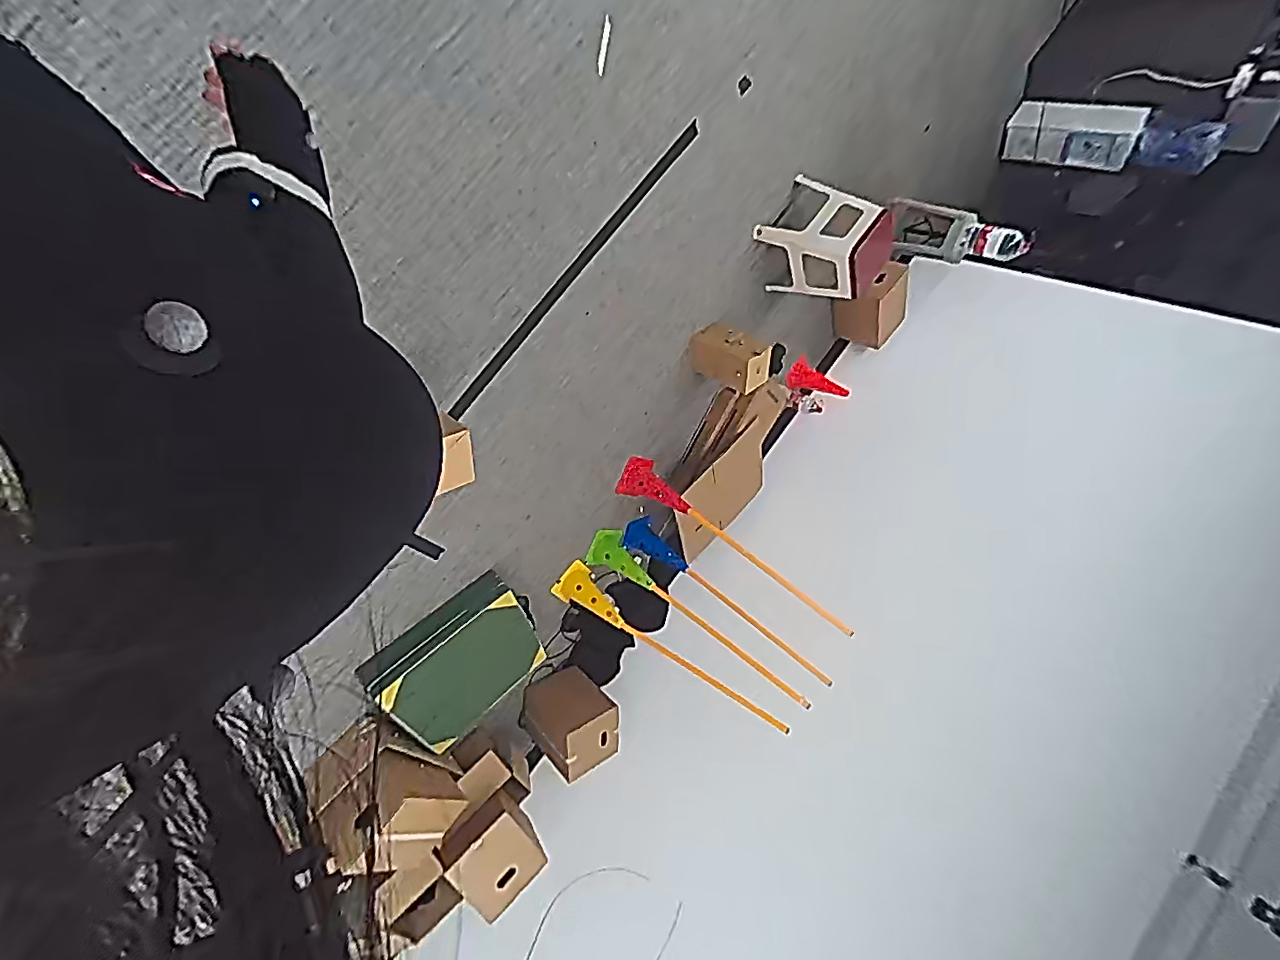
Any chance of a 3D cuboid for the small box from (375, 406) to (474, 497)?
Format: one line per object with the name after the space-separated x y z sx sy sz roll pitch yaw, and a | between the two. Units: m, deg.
-0.578 -0.075 1.461 0.179 0.176 0.168 -29 137 -38 | small box
